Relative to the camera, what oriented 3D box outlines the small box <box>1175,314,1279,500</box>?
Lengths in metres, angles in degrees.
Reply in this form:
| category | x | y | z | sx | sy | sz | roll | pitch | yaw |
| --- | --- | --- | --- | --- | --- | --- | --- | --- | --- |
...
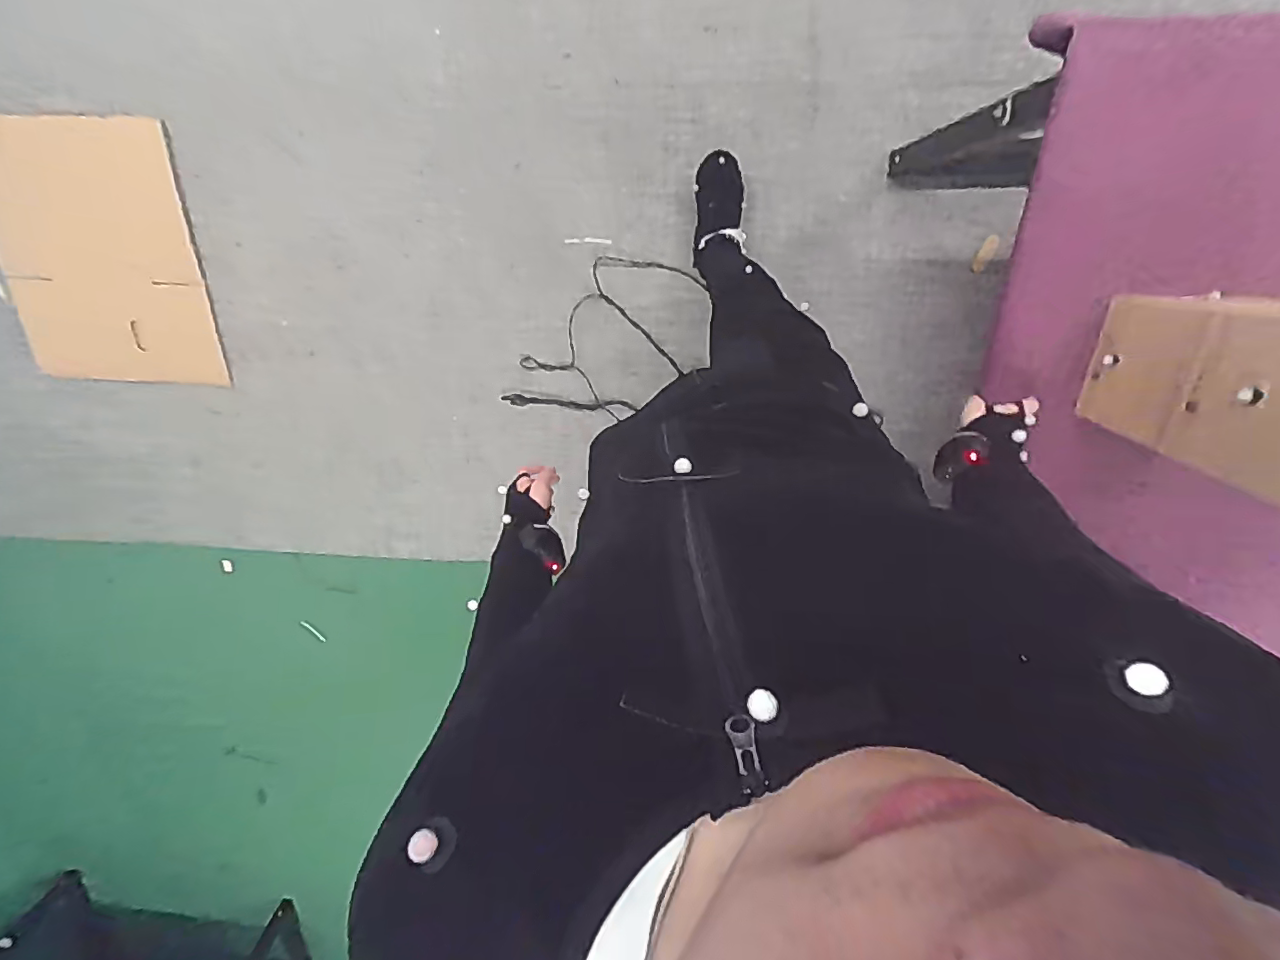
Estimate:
| category | x | y | z | sx | sy | sz | roll | pitch | yaw |
| --- | --- | --- | --- | --- | --- | --- | --- | --- | --- |
| small box | 0.690 | -0.064 | 0.517 | 0.179 | 0.176 | 0.168 | 3 | 113 | 4 |
